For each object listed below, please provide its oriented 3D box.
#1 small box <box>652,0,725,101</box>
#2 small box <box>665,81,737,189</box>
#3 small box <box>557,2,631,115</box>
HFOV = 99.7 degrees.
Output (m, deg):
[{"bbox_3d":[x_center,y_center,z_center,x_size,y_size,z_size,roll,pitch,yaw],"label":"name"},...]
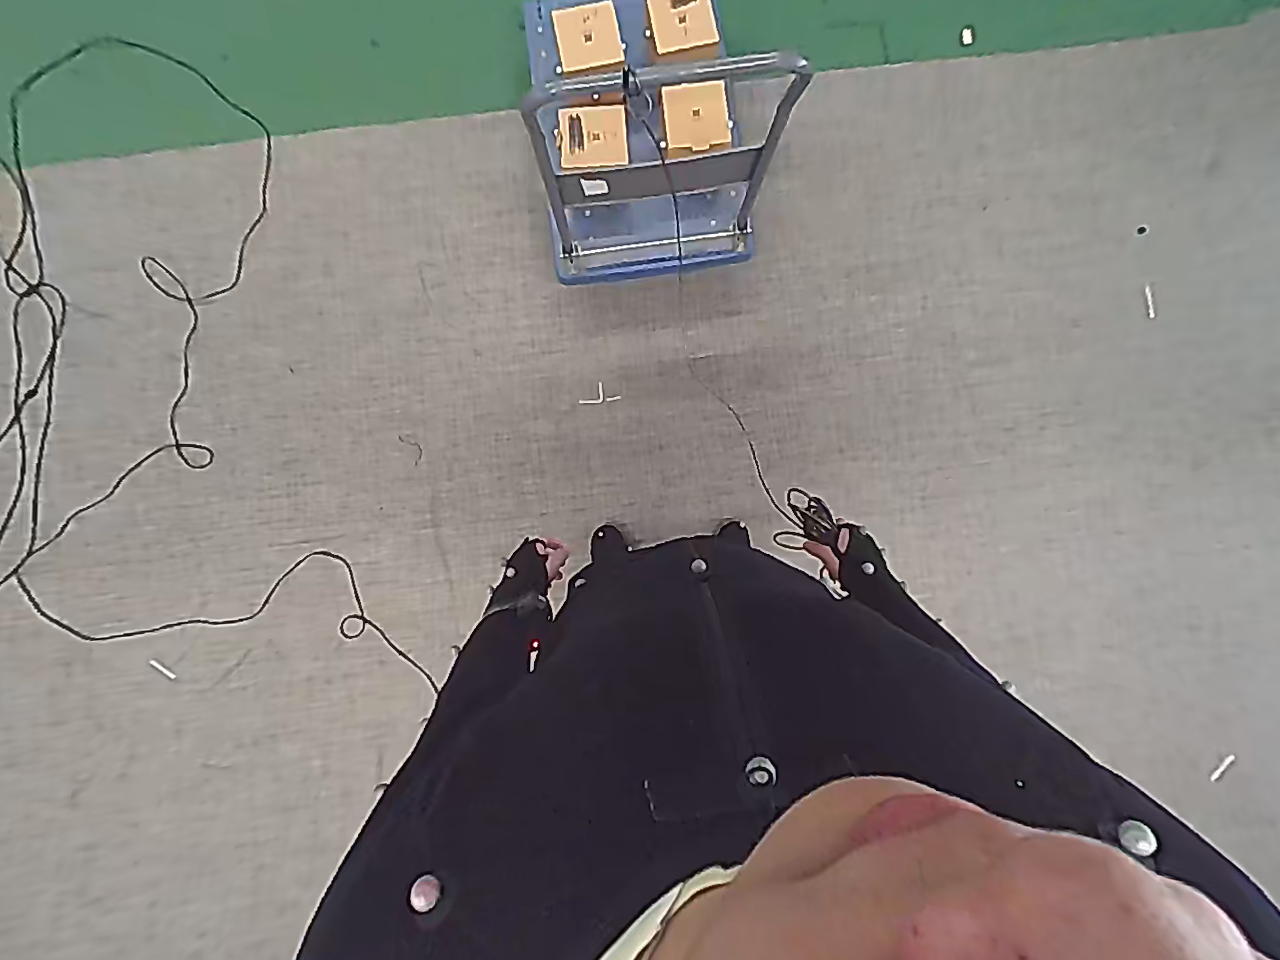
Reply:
[{"bbox_3d":[0.126,-1.194,1.483,0.168,0.176,0.179,-11,87,1],"label":"small box"},{"bbox_3d":[0.160,-0.927,1.463,0.168,0.176,0.179,-6,87,1],"label":"small box"},{"bbox_3d":[-0.121,-1.144,1.486,0.168,0.176,0.179,-11,86,0],"label":"small box"}]
